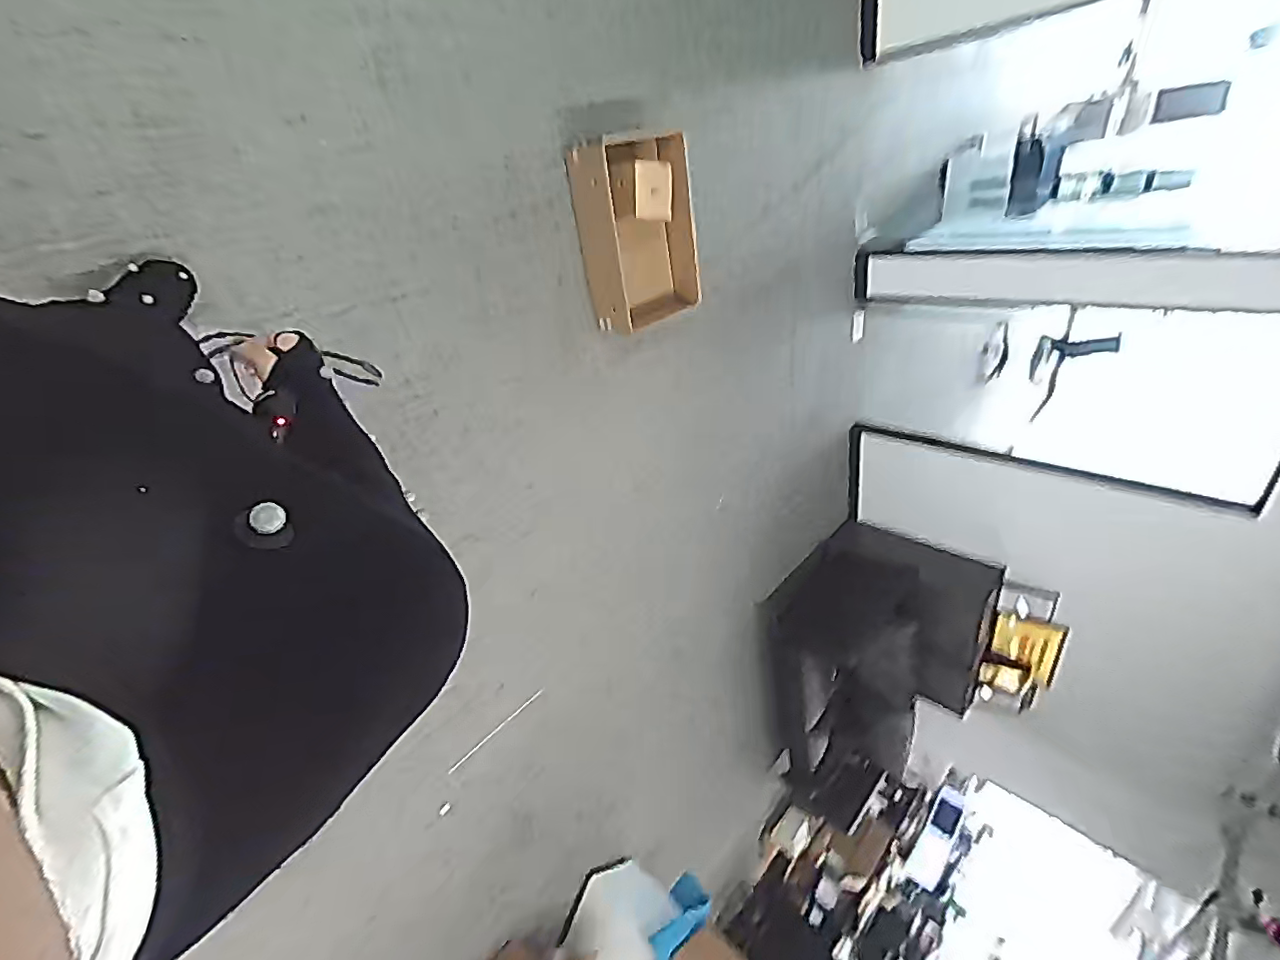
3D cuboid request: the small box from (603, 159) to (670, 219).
[{"bbox_3d":[-0.017,-0.993,1.859,0.179,0.176,0.168,-23,122,-40],"label":"small box"}]
